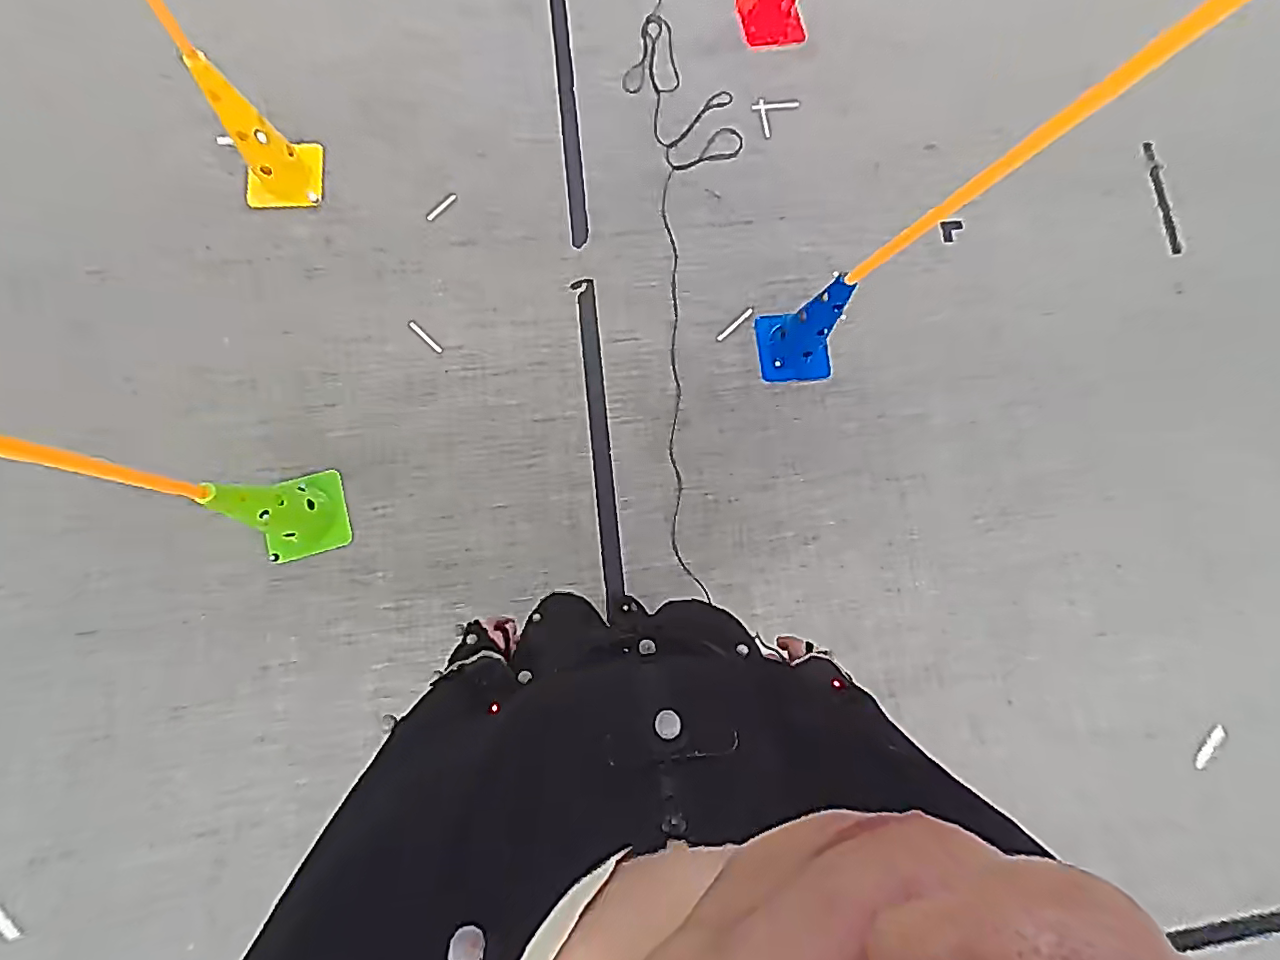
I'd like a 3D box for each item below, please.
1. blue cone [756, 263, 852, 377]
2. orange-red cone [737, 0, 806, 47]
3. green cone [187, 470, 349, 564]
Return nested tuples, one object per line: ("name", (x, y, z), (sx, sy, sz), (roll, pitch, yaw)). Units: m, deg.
("blue cone", (0.440, -0.414, 1.369), (0.193, 0.380, 0.192), (-3, 79, -5))
("orange-red cone", (0.429, -1.508, 1.563), (0.199, 0.360, 0.198), (-11, 80, -5))
("green cone", (-0.828, 0.053, 1.179), (0.200, 0.368, 0.202), (-16, 79, -7))
